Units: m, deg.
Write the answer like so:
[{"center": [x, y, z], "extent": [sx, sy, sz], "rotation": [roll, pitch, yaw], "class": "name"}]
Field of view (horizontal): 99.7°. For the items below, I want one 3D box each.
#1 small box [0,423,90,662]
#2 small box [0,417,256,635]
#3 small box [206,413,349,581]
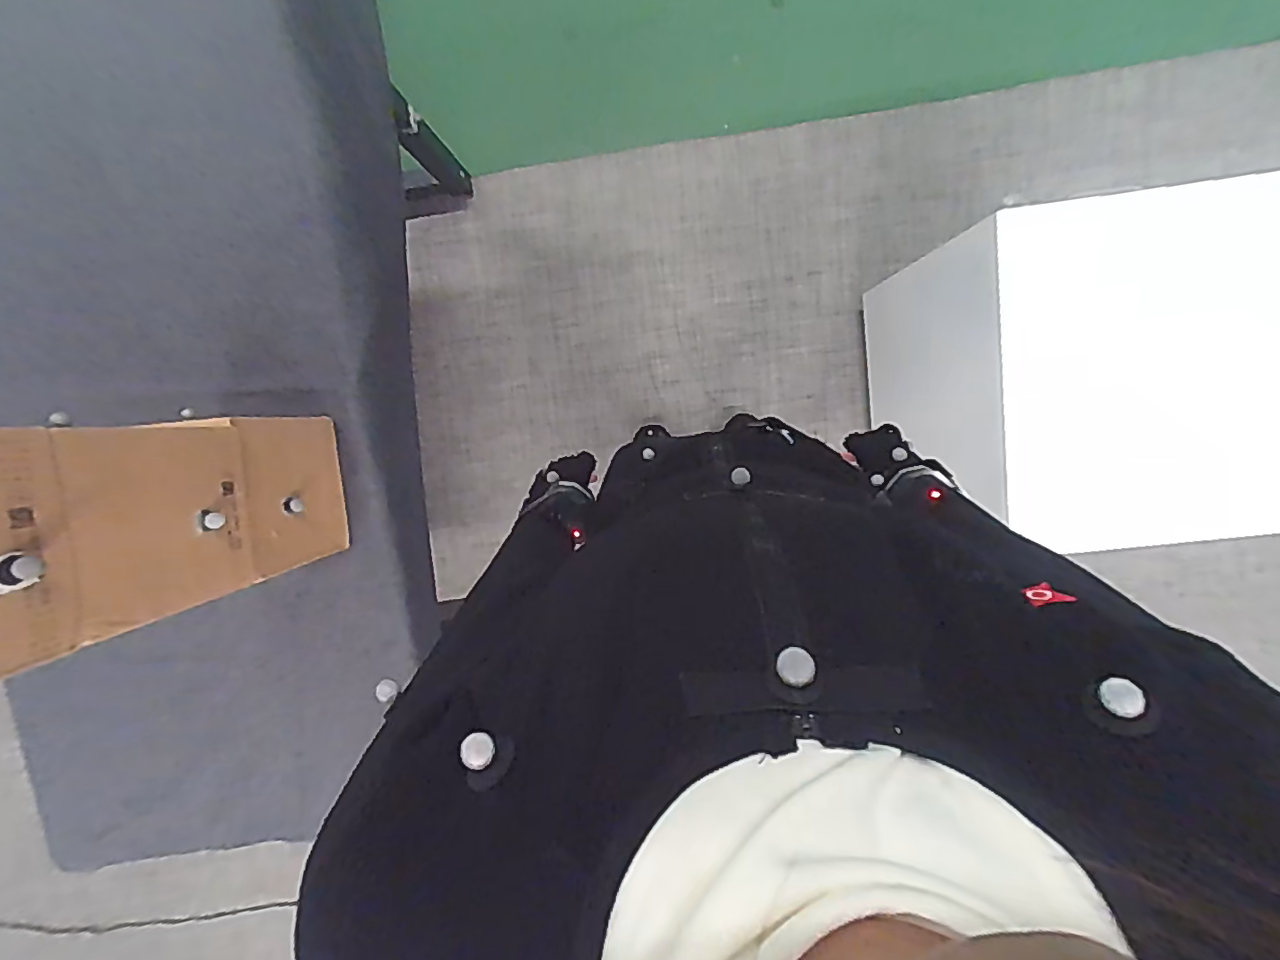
[{"center": [-0.513, 0.053, 0.331], "extent": [0.179, 0.176, 0.168], "rotation": [-3, 98, 5], "class": "small box"}, {"center": [-0.501, 0.032, 0.491], "extent": [0.179, 0.176, 0.168], "rotation": [-4, 96, 7], "class": "small box"}, {"center": [-0.482, 0.013, 0.653], "extent": [0.168, 0.176, 0.179], "rotation": [-4, 97, 6], "class": "small box"}]
